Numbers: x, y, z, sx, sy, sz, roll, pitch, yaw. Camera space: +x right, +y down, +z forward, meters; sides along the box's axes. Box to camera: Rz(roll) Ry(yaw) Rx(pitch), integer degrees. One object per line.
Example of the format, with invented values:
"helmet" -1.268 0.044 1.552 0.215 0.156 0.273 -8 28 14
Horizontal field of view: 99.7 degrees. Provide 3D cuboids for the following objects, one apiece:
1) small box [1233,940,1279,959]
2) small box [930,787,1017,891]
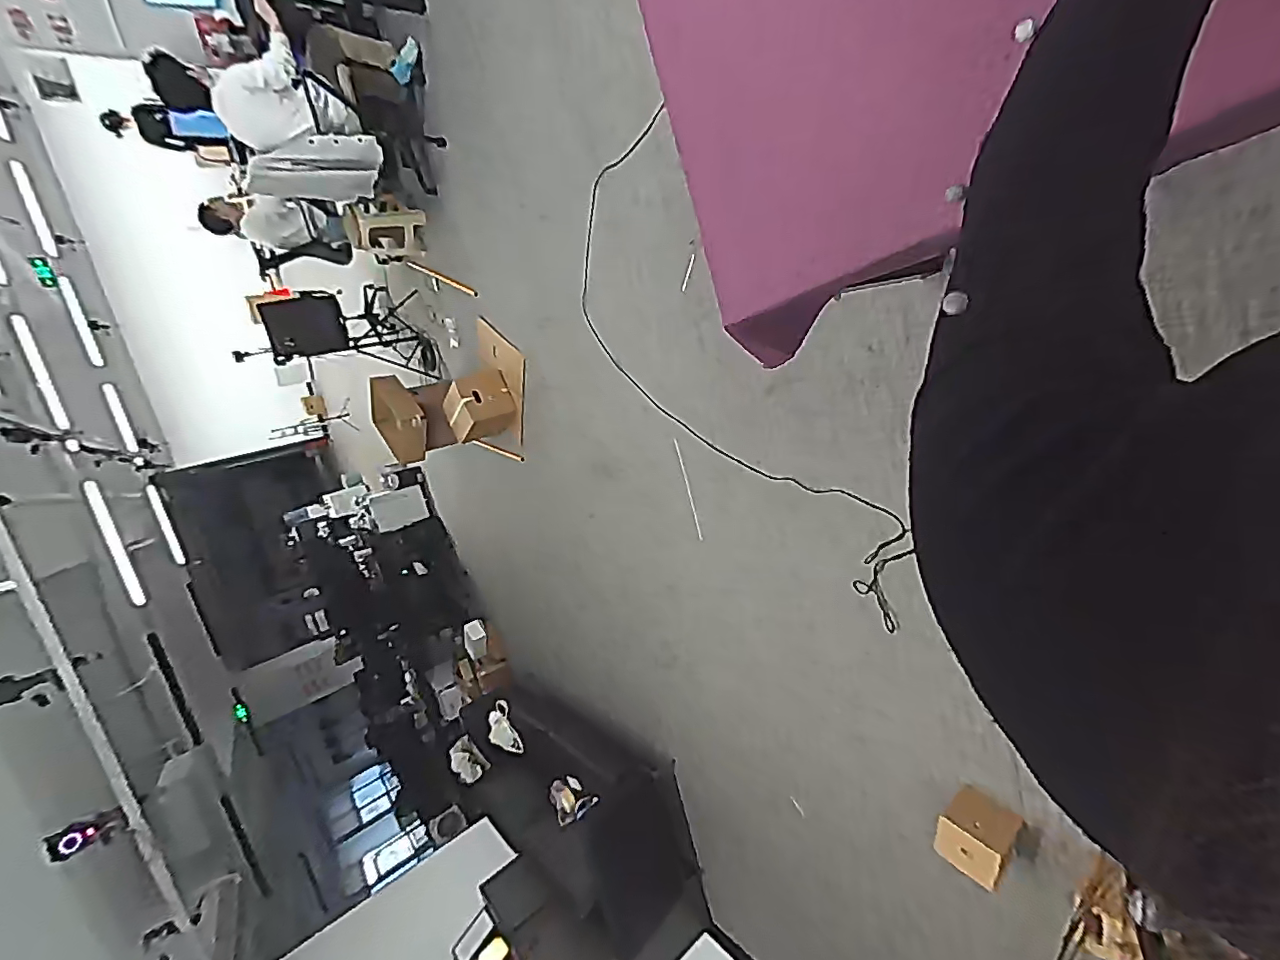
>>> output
"small box" 1.432 1.175 1.188 0.179 0.176 0.168 0 108 54
"small box" 1.046 1.115 1.696 0.179 0.176 0.168 23 125 48
